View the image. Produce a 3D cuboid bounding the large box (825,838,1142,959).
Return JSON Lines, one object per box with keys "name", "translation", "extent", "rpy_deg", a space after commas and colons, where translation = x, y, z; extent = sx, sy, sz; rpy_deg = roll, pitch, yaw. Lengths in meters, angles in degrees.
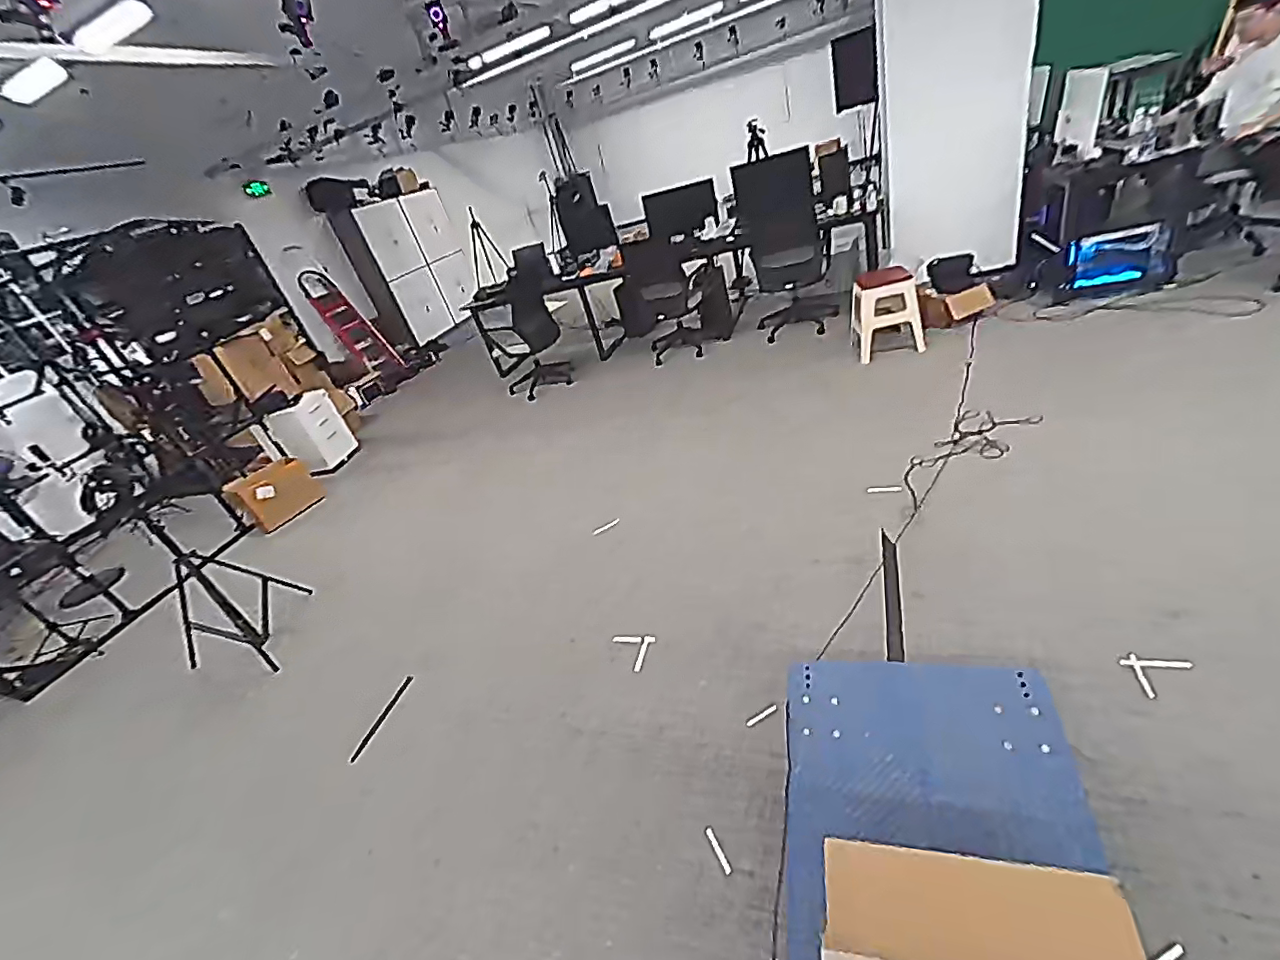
{"name": "large box", "translation": [0.517, 0.803, 0.844], "extent": [0.408, 0.320, 0.320], "rpy_deg": [-5, 44, 20]}
